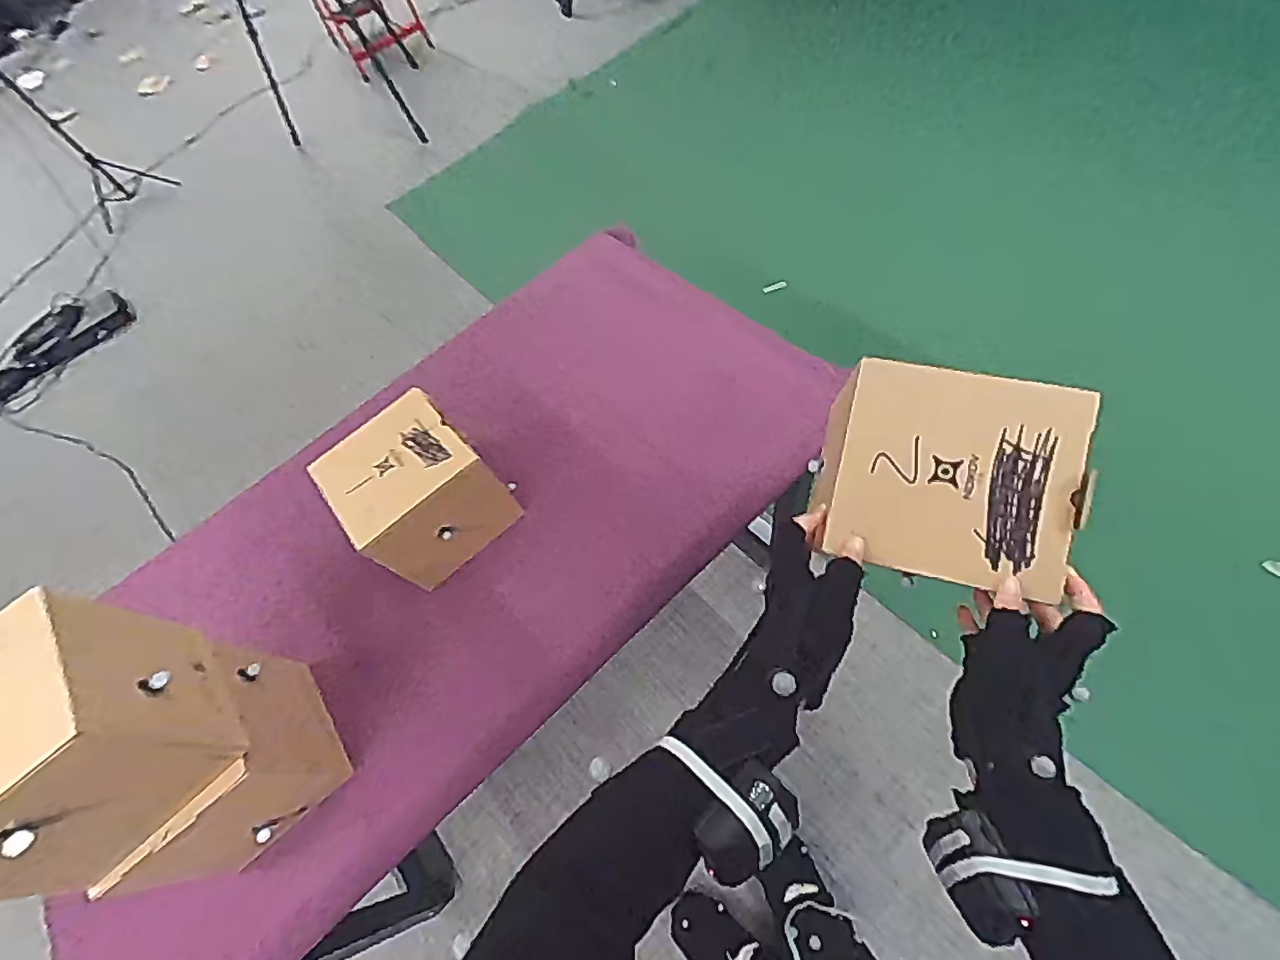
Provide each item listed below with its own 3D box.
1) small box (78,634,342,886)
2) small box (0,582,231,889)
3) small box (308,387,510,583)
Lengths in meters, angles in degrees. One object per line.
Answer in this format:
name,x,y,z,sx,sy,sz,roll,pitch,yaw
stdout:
small box,-0.489,0.313,0.621,0.168,0.176,0.179,-38,63,-11
small box,-0.518,0.227,0.485,0.179,0.176,0.168,-42,63,-13
small box,-0.303,0.013,0.750,0.179,0.176,0.168,-40,63,-11
